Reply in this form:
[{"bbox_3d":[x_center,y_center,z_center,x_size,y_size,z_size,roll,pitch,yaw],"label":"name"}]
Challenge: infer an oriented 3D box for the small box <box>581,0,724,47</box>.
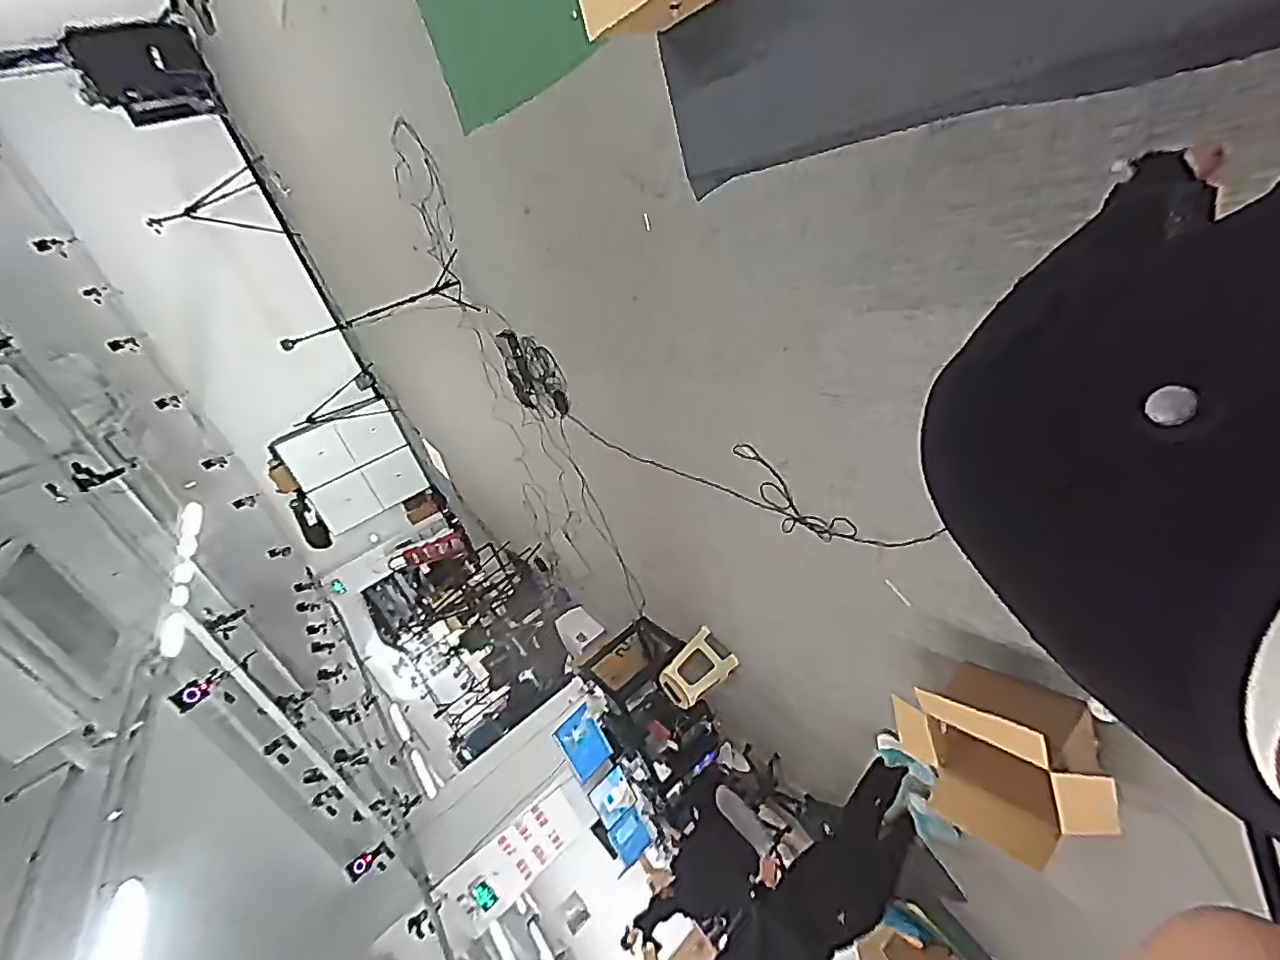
[{"bbox_3d":[0.017,-0.788,0.814,0.179,0.176,0.168,23,136,48],"label":"small box"}]
